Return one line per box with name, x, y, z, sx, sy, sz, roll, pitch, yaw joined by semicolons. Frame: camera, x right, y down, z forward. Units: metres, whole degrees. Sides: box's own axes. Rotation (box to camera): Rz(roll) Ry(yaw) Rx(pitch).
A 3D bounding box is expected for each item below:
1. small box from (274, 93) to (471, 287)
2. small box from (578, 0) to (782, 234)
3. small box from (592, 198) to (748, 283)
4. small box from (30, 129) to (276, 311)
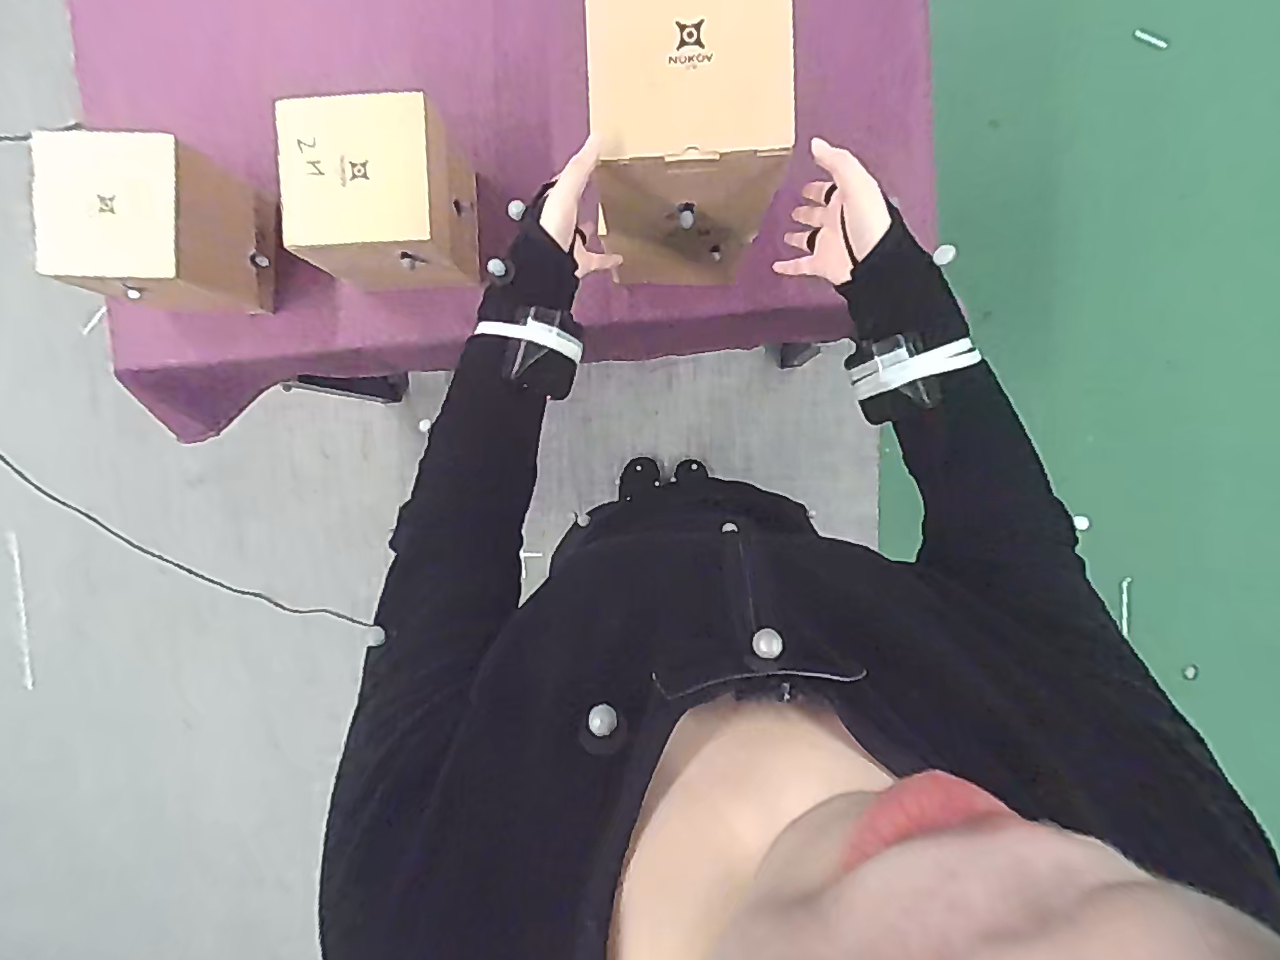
small box;-0.324;-0.356;0.693;0.179;0.176;0.168;-1;92;3
small box;0.036;-0.349;0.513;0.168;0.176;0.179;-1;93;2
small box;0.041;-0.356;0.678;0.179;0.176;0.168;2;93;2
small box;-0.623;-0.326;0.710;0.179;0.176;0.168;3;93;2
